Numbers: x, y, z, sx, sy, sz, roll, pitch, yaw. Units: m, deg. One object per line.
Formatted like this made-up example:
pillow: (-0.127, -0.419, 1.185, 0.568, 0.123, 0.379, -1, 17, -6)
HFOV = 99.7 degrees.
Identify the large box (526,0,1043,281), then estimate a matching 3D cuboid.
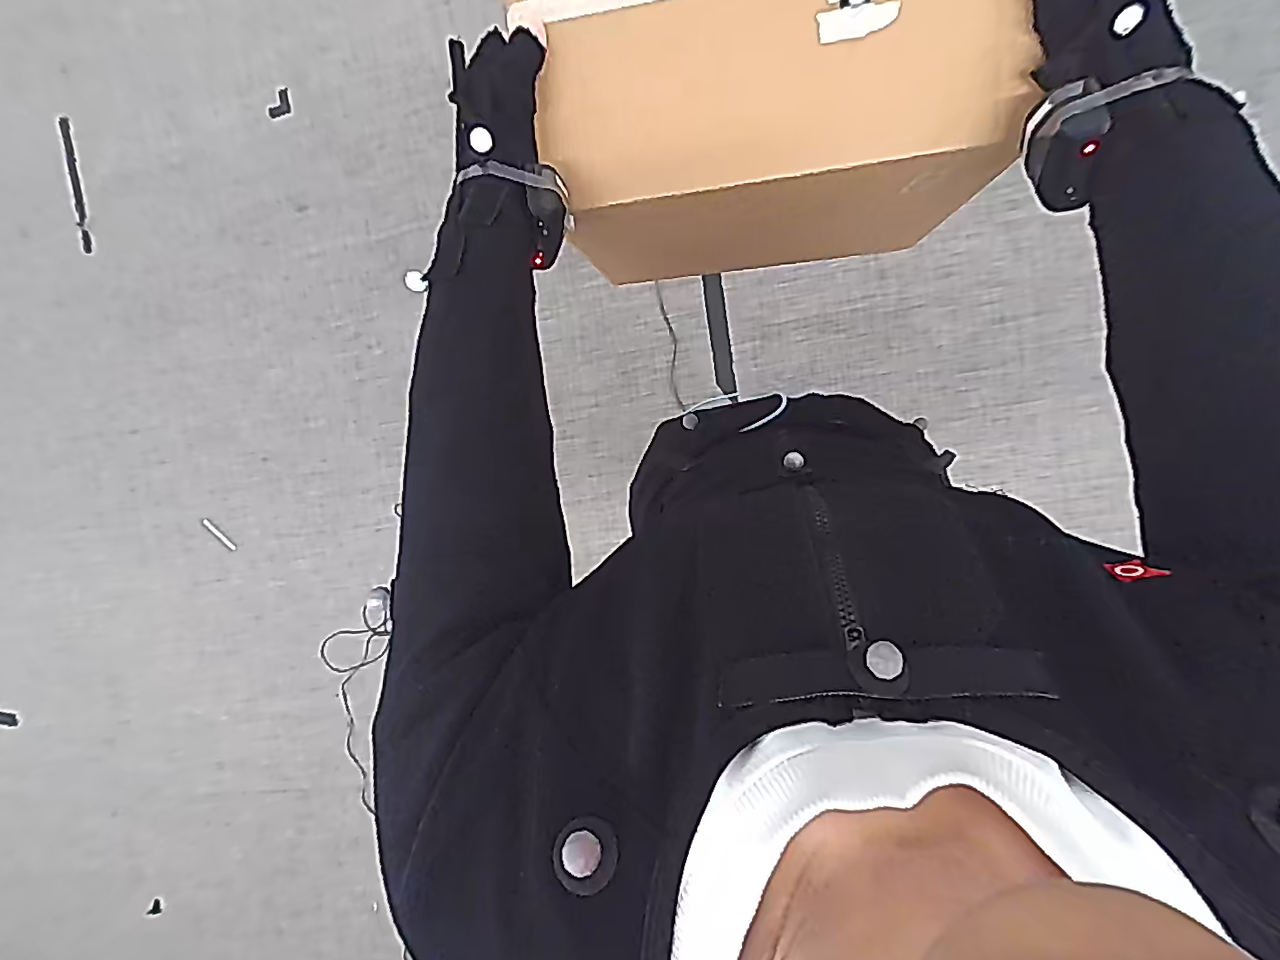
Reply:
large box: (0.119, -0.427, 0.574, 0.408, 0.320, 0.320, -4, 98, 9)
